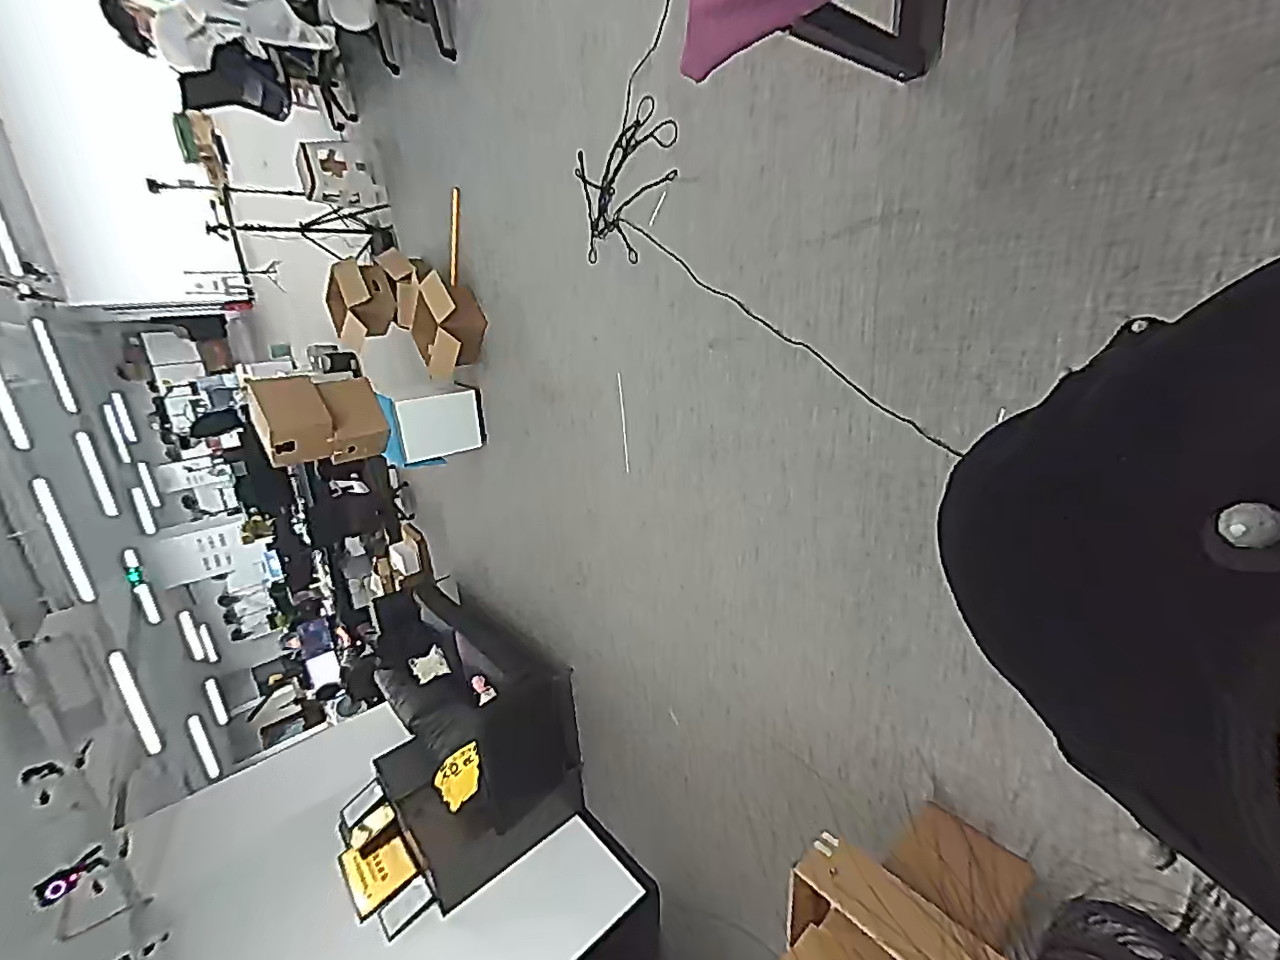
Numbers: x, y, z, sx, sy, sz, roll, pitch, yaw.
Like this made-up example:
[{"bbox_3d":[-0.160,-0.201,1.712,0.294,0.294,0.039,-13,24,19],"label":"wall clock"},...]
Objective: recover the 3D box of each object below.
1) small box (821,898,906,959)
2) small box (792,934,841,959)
[{"bbox_3d":[0.602,1.311,1.481,0.168,0.176,0.179,25,122,45],"label":"small box"},{"bbox_3d":[0.467,1.343,1.393,0.179,0.176,0.168,23,121,46],"label":"small box"}]
